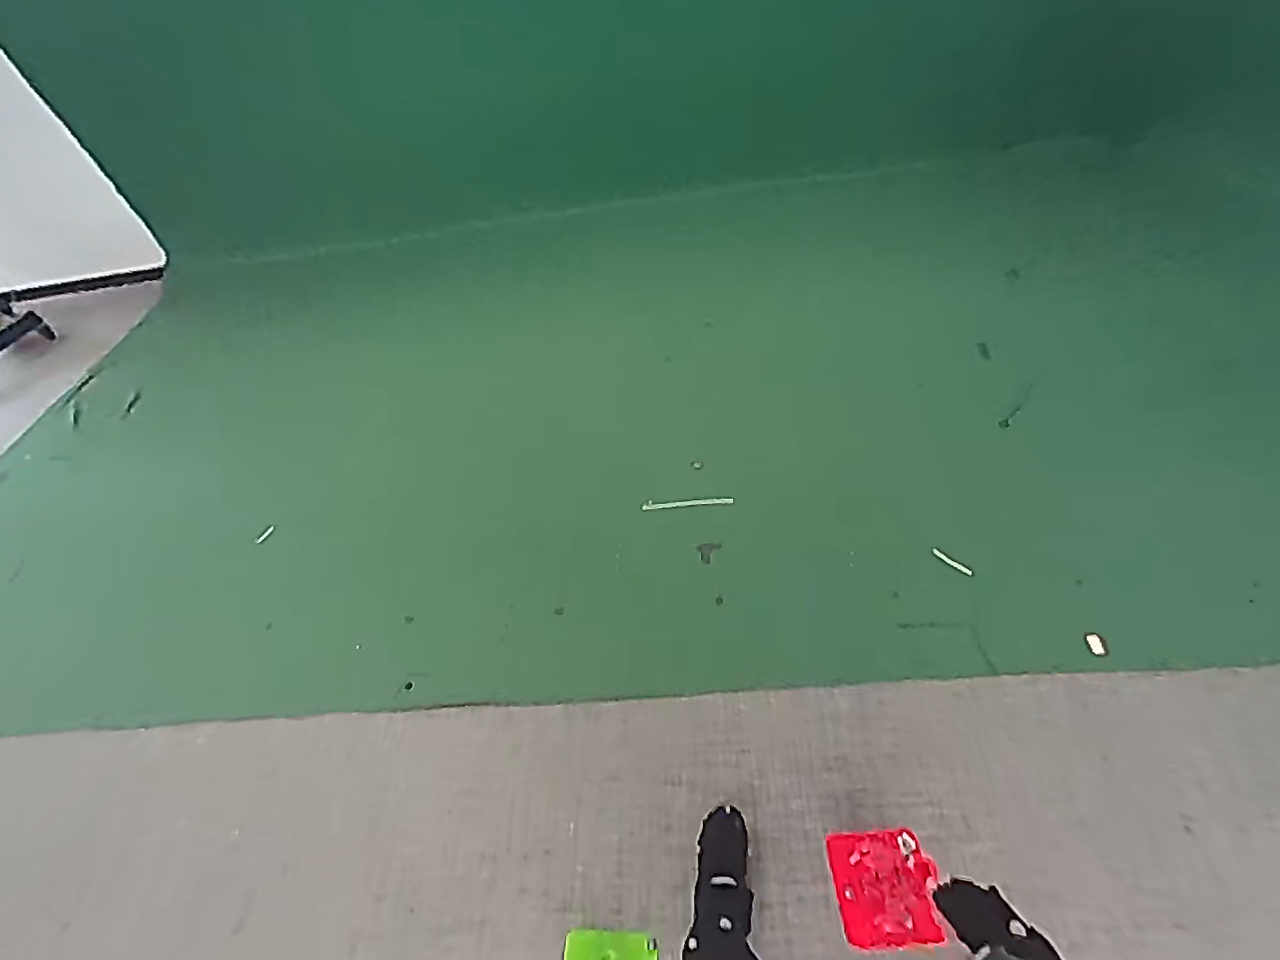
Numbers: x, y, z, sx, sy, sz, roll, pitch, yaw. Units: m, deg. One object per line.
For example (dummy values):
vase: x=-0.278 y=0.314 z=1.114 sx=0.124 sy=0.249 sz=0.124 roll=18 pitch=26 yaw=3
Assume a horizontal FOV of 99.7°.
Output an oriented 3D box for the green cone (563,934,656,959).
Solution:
green cone: x=-0.092 y=0.939 z=0.957 sx=0.200 sy=0.368 sz=0.202 roll=-4 pitch=50 yaw=8
